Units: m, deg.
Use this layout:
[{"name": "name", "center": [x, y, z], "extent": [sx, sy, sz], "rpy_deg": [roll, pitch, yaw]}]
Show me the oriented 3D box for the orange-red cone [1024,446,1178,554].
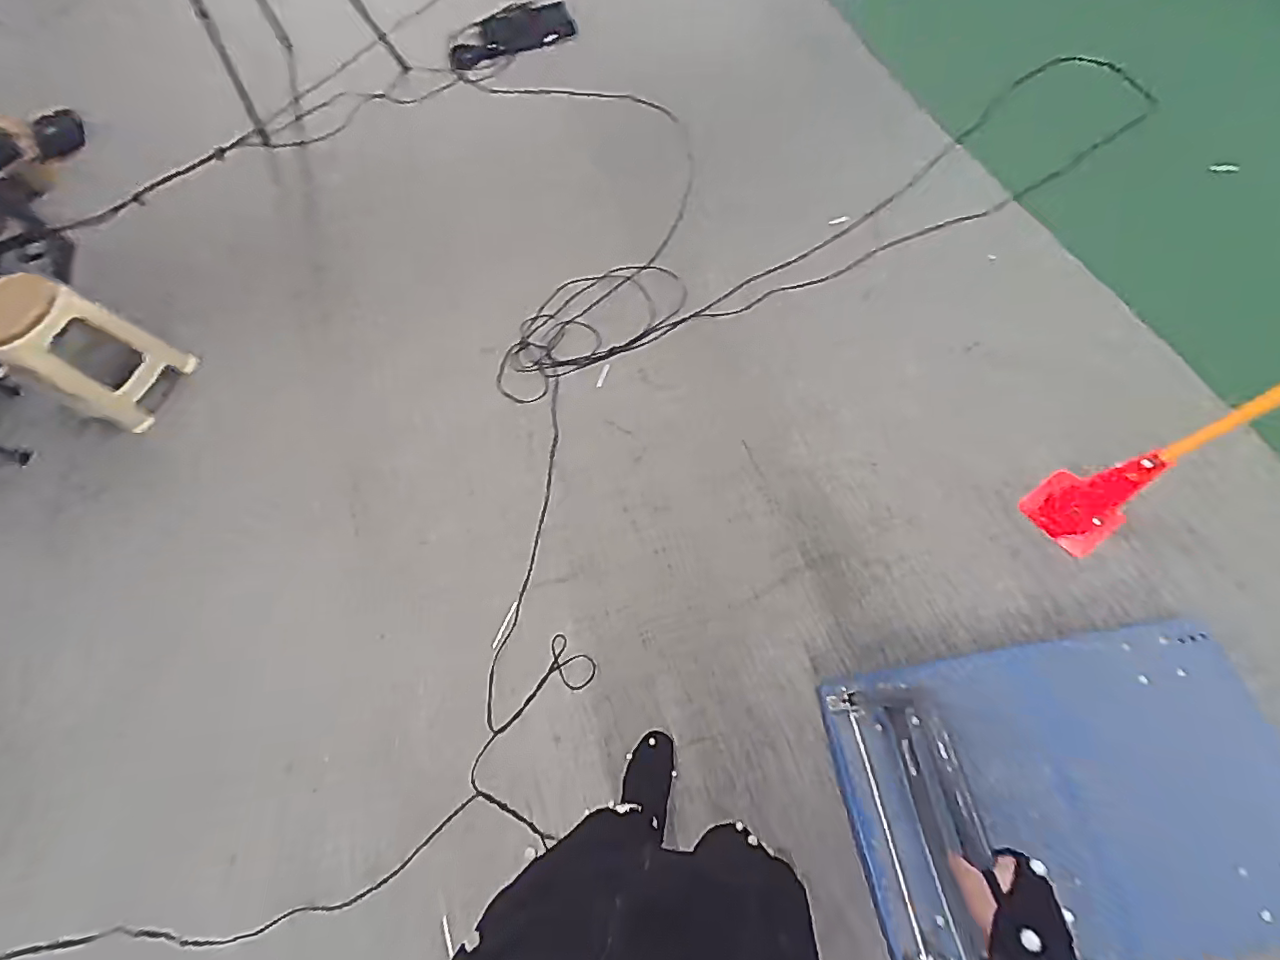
[{"name": "orange-red cone", "center": [1.178, 0.014, 1.342], "extent": [0.198, 0.360, 0.199], "rpy_deg": [-34, 65, -9]}]
